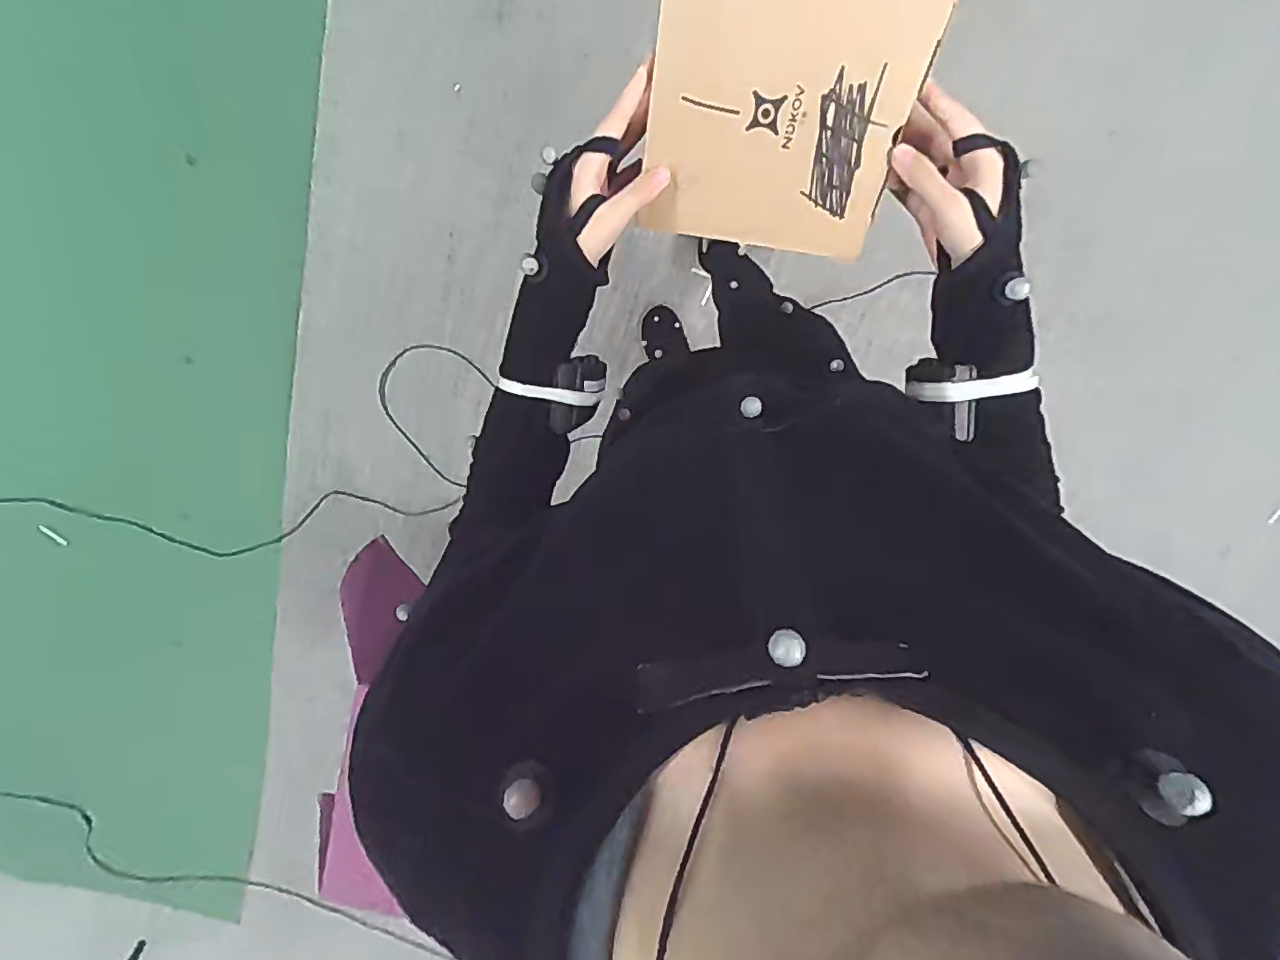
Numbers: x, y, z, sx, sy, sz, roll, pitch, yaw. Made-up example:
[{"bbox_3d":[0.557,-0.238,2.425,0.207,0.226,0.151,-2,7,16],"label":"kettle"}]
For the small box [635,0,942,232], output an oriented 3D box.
[{"bbox_3d":[0.098,-0.316,0.423,0.179,0.176,0.168,8,130,0],"label":"small box"}]
